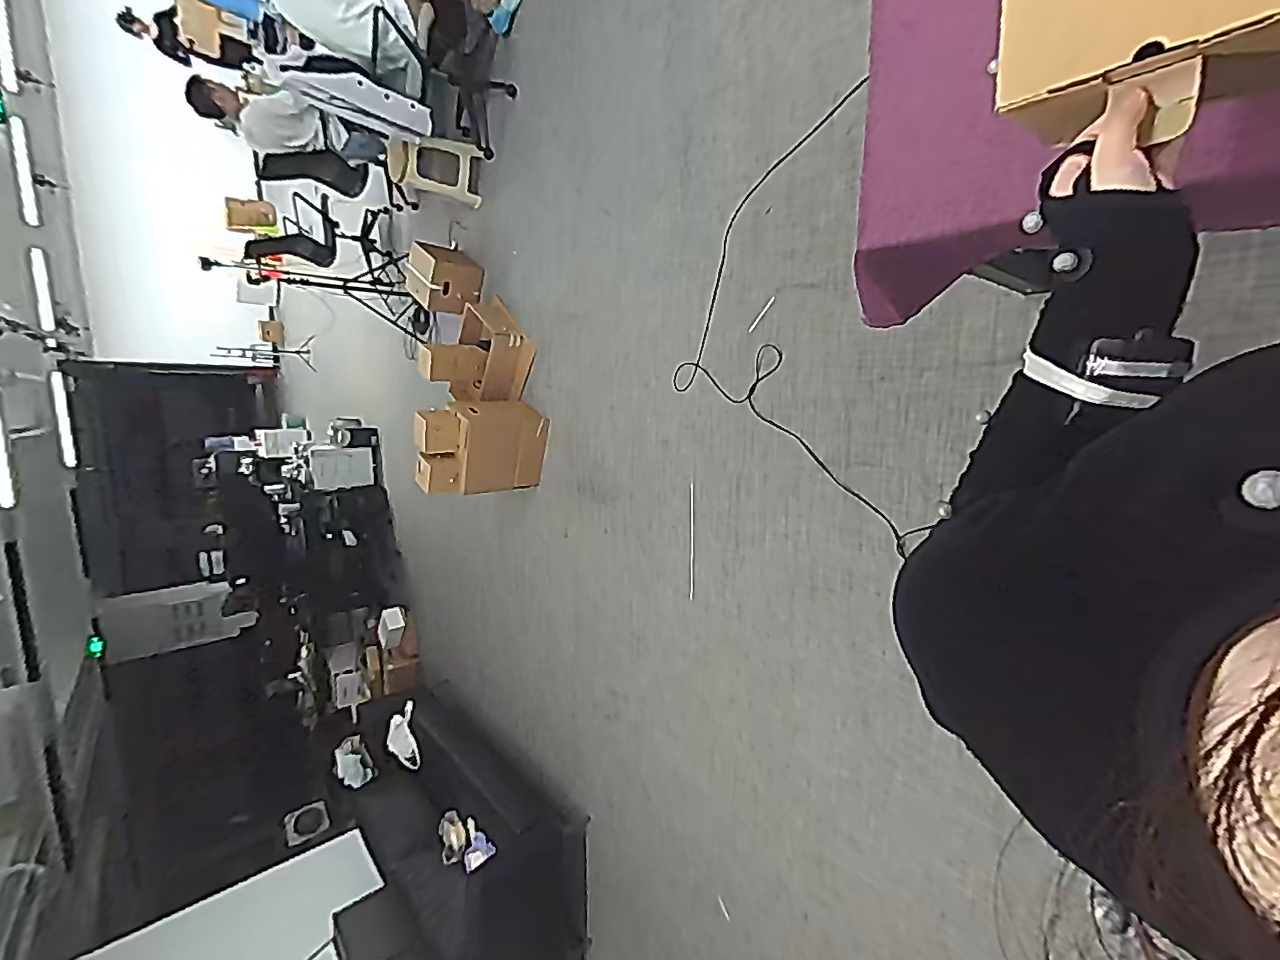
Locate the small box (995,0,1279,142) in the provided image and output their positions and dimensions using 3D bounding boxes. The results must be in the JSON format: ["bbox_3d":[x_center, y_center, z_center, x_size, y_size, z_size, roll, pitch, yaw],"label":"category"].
[{"bbox_3d":[0.376,-0.371,0.383,0.168,0.176,0.179,10,112,47],"label":"small box"}]
